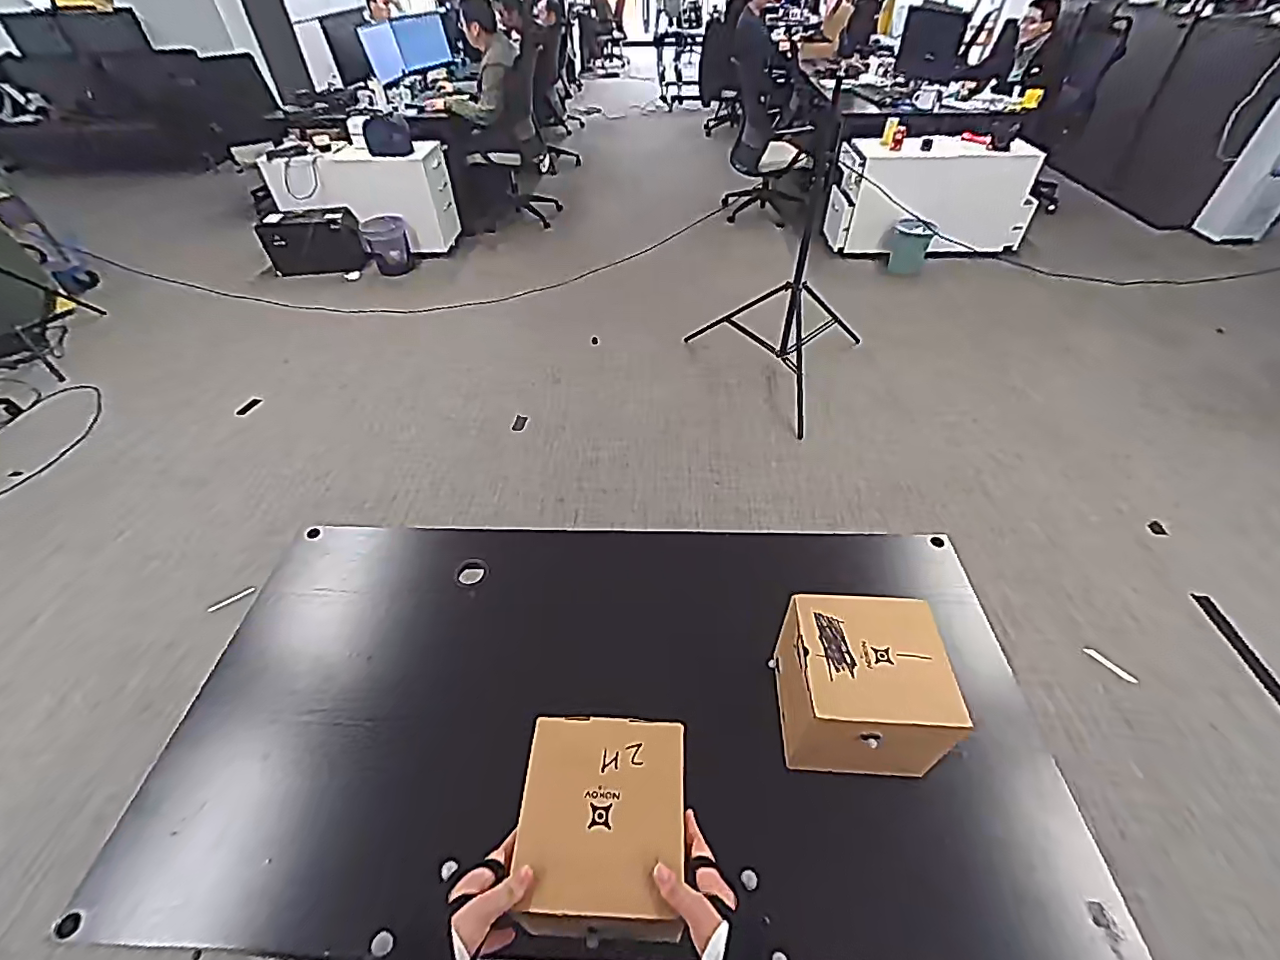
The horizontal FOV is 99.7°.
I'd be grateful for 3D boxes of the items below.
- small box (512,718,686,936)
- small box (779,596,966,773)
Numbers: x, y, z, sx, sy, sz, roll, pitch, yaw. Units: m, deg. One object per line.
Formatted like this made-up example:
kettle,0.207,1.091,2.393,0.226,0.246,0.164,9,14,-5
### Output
small box,-0.032,0.391,0.609,0.168,0.176,0.179,2,44,2
small box,0.287,0.273,0.720,0.179,0.176,0.168,2,45,3
